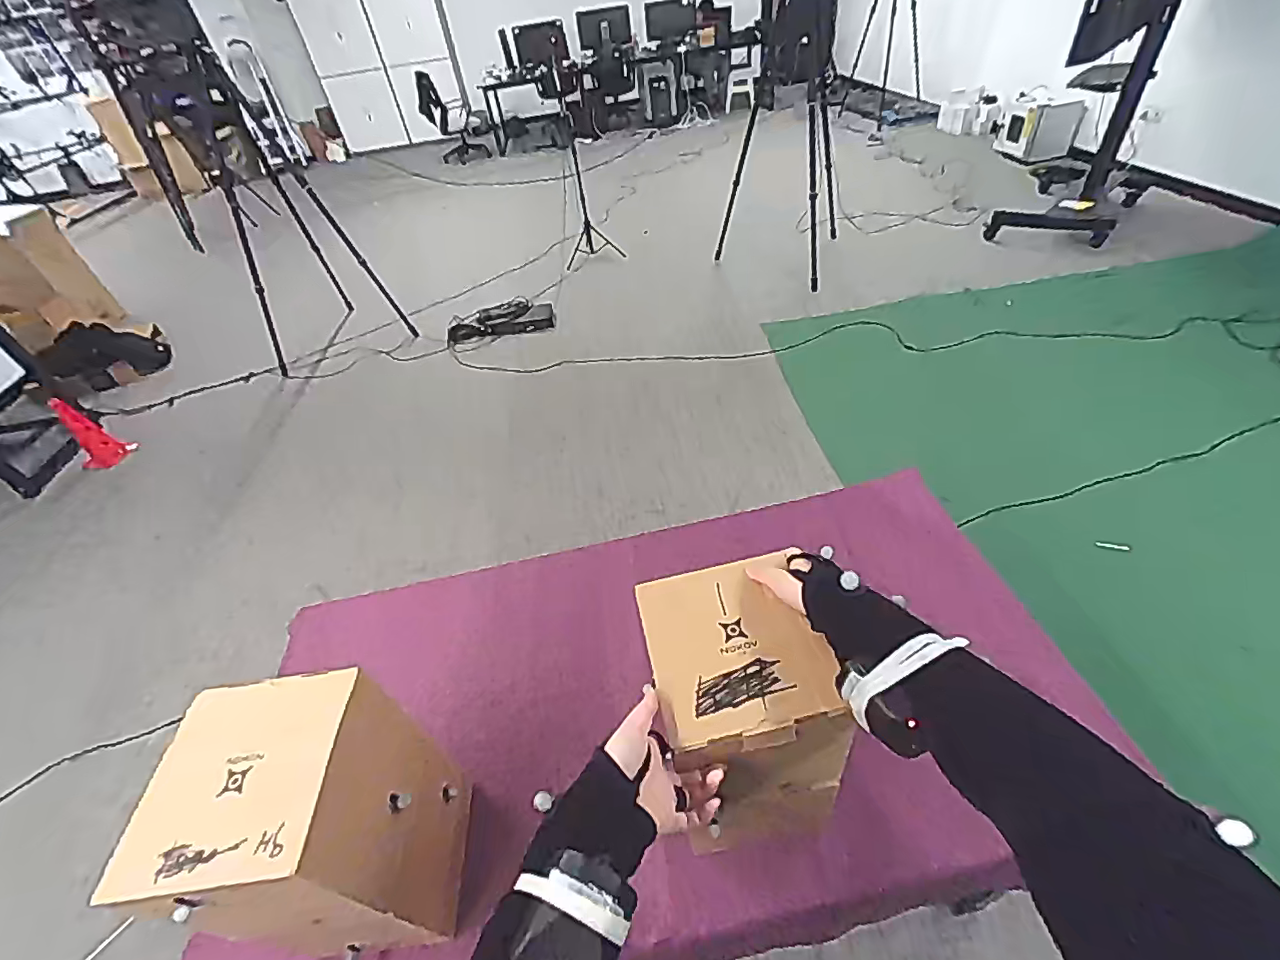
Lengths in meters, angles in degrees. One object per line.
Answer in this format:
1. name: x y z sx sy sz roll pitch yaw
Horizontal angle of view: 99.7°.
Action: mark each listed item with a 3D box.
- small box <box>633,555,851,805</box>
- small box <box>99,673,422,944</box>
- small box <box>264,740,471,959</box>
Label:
1. small box: 0.097 0.212 0.563 0.168 0.176 0.179 -13 41 -3
2. small box: -0.338 0.322 0.533 0.168 0.176 0.179 -10 41 2
3. small box: -0.314 0.441 0.644 0.168 0.176 0.179 -10 43 2
